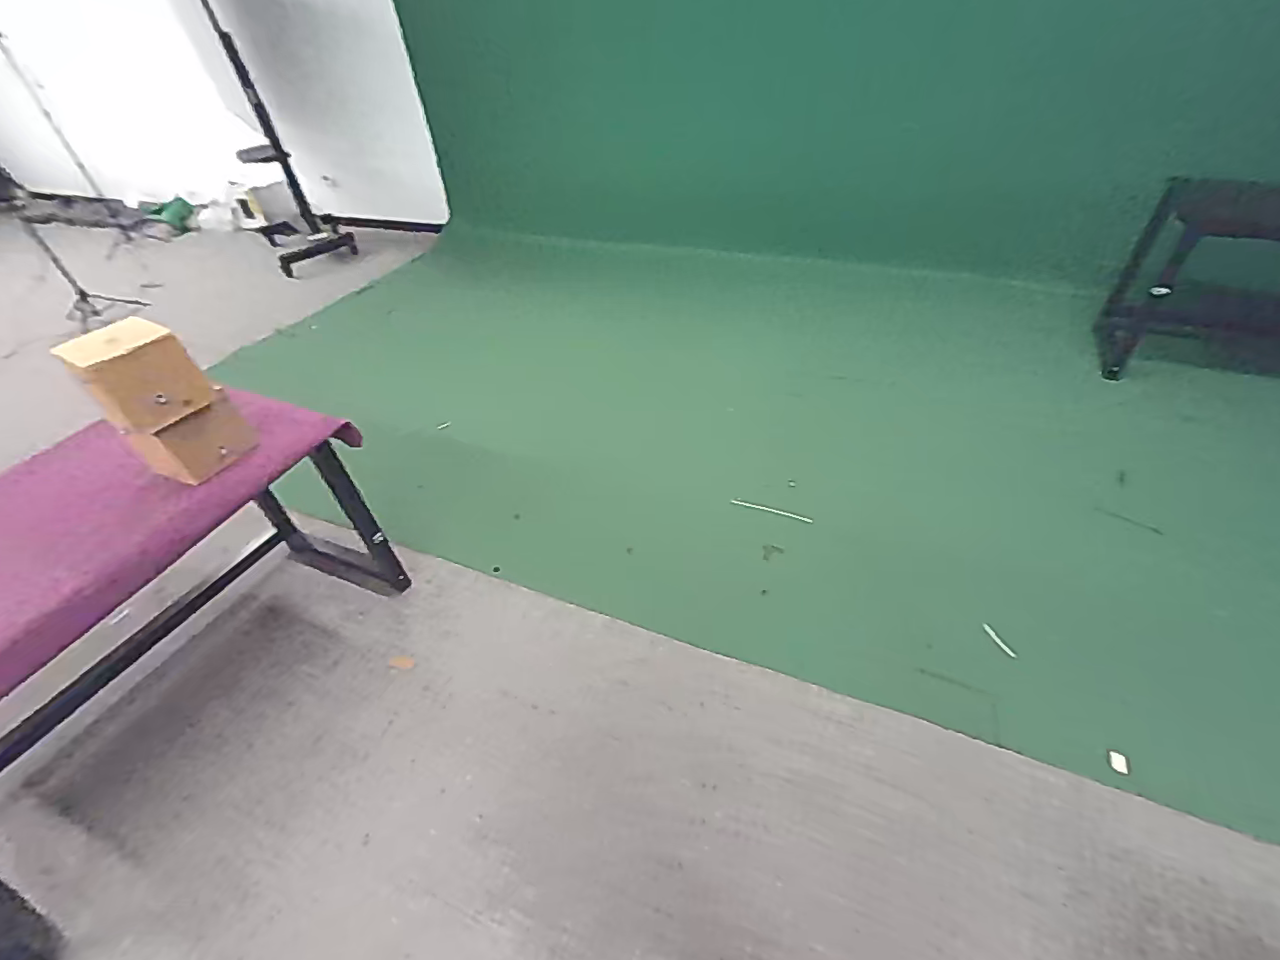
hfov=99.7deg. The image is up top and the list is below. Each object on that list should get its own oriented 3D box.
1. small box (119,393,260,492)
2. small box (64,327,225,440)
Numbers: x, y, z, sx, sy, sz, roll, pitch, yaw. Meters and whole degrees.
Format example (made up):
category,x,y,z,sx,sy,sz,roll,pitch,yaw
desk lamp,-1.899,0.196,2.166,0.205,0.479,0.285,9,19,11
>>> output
category,x,y,z,sx,sy,sz,roll,pitch,yaw
small box,-1.063,-0.100,1.299,0.168,0.176,0.179,12,44,21
small box,-1.065,-0.209,1.175,0.179,0.176,0.168,20,48,26
